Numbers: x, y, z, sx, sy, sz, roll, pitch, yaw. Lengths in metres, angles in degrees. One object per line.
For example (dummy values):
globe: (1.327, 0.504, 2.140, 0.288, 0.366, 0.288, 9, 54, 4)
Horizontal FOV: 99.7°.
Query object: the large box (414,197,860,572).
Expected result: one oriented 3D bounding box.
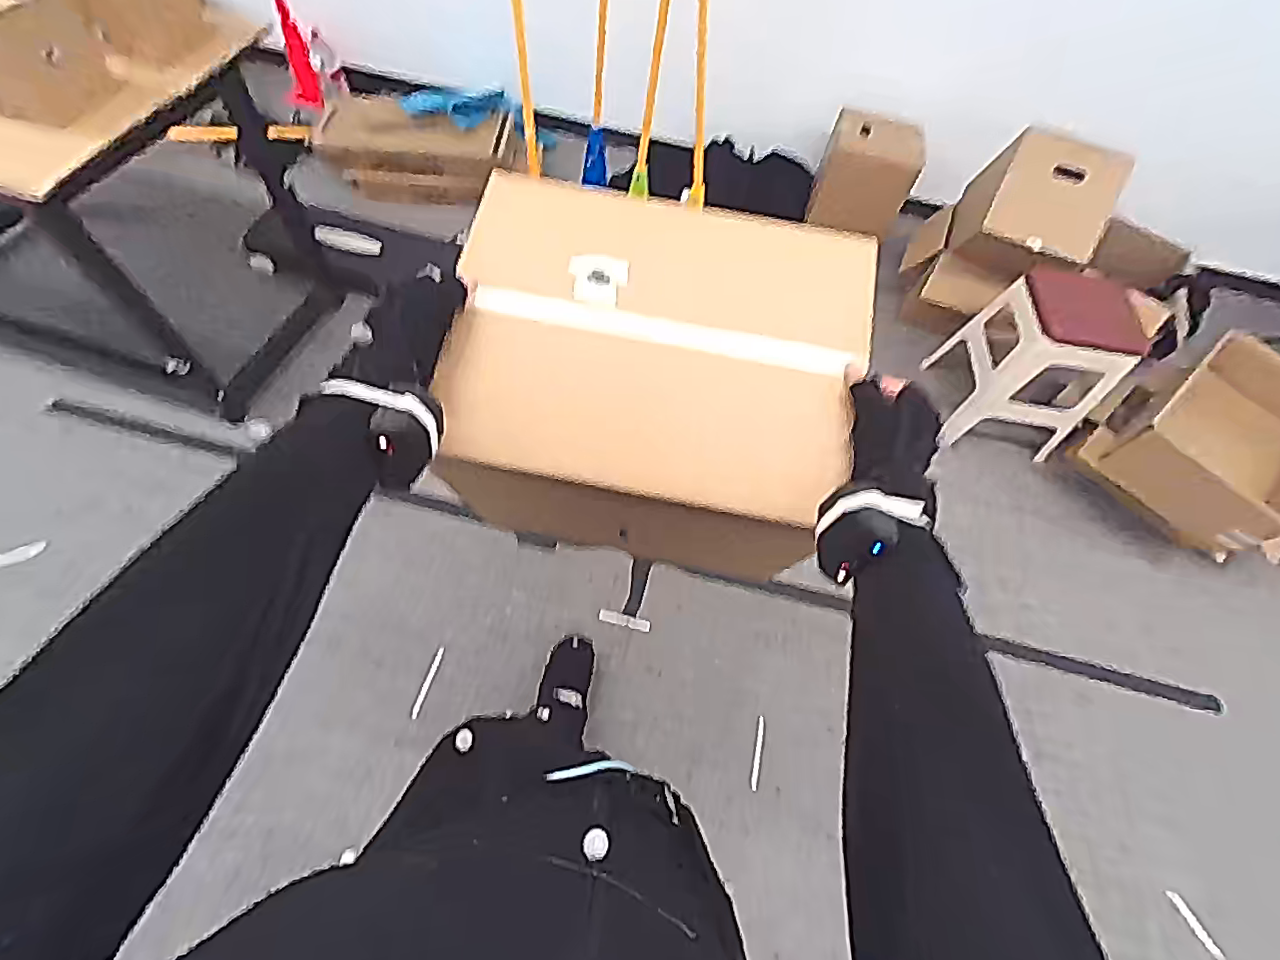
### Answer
large box: (0.012, -0.088, 0.679, 0.408, 0.320, 0.320, 12, 71, 3)
